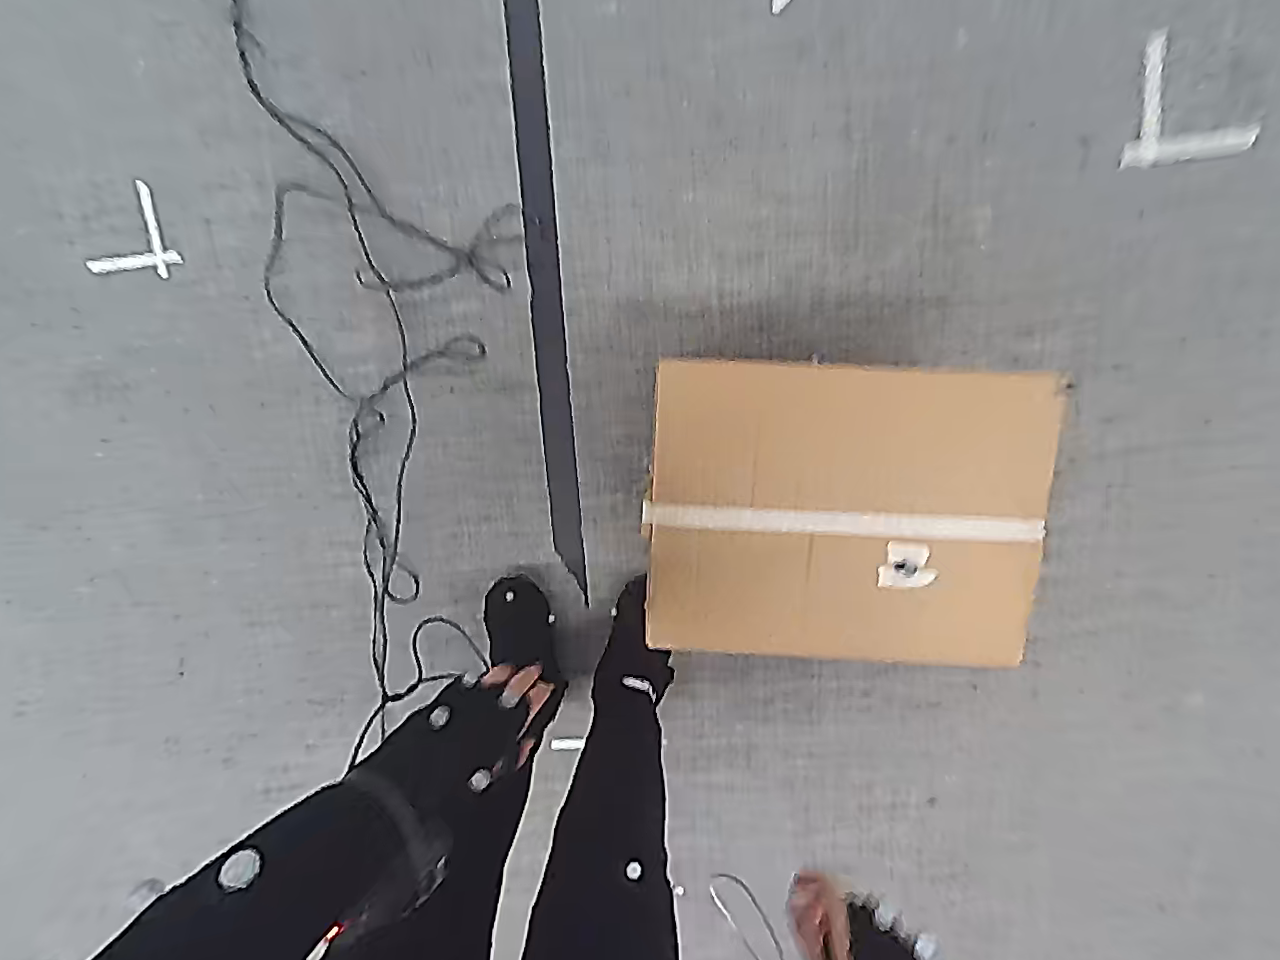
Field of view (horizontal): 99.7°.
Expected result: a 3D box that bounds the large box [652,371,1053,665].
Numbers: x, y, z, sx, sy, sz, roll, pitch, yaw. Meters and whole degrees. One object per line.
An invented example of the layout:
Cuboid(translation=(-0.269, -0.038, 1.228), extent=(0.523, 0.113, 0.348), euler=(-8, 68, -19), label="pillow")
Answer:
Cuboid(translation=(0.219, 0.023, 0.721), extent=(0.408, 0.320, 0.320), euler=(3, 100, 1), label="large box")
